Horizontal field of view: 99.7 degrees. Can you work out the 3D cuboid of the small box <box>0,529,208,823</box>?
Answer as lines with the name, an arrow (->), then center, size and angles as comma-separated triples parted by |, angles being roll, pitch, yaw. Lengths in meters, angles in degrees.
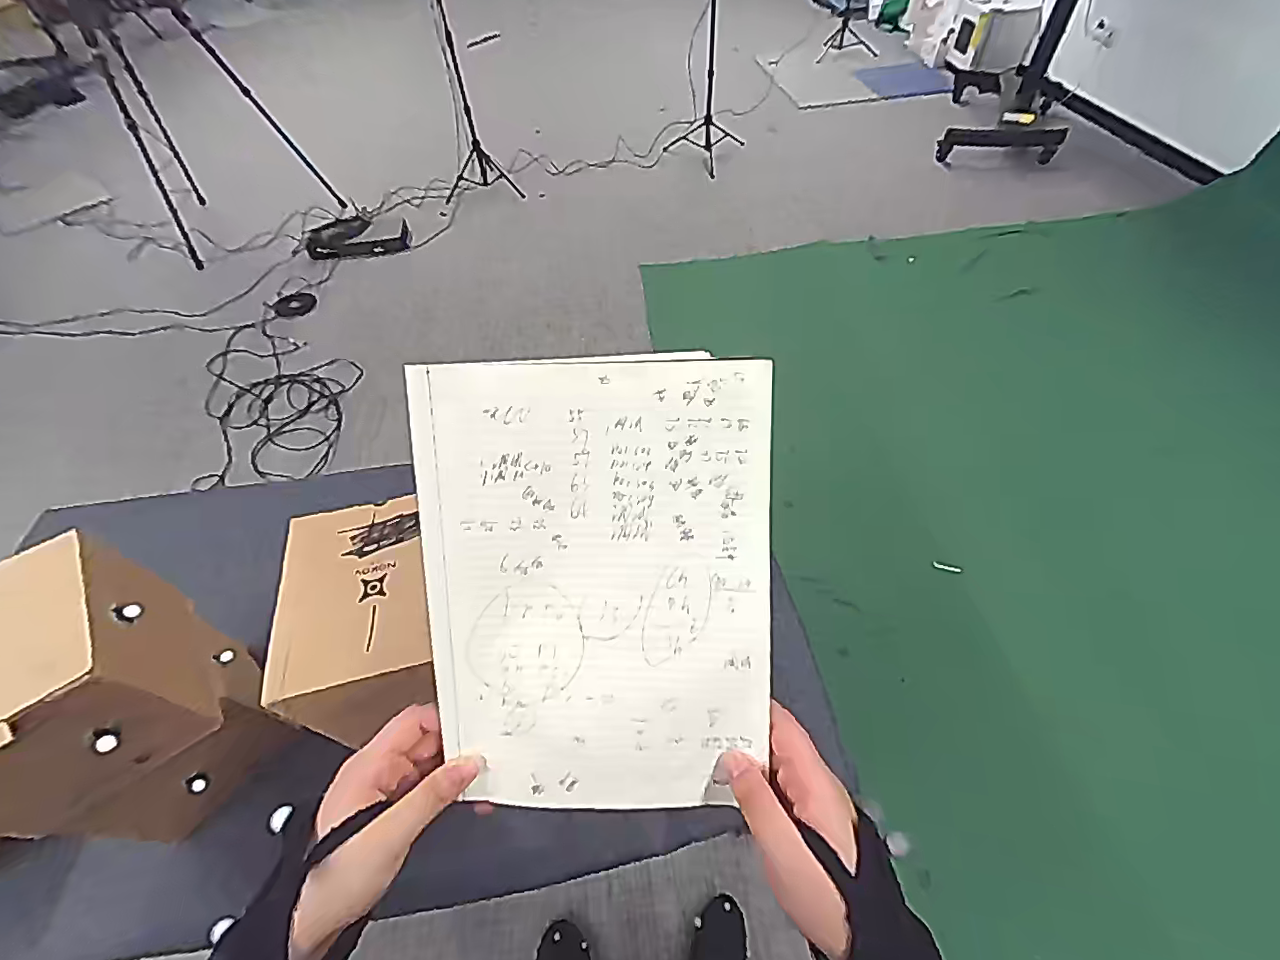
small box -> -0.550, 0.186, 0.503 | 0.168, 0.176, 0.179 | -32, 57, -21

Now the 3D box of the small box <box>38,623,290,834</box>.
small box -> -0.562, 0.281, 0.636 | 0.179, 0.176, 0.168 | 34, 60, 24

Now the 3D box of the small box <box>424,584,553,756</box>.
small box -> -0.225, 0.221, 0.667 | 0.179, 0.176, 0.168 | 15, 55, 14

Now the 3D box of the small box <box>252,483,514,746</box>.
small box -> -0.228, 0.133, 0.527 | 0.168, 0.176, 0.179 | -13, 53, -6
